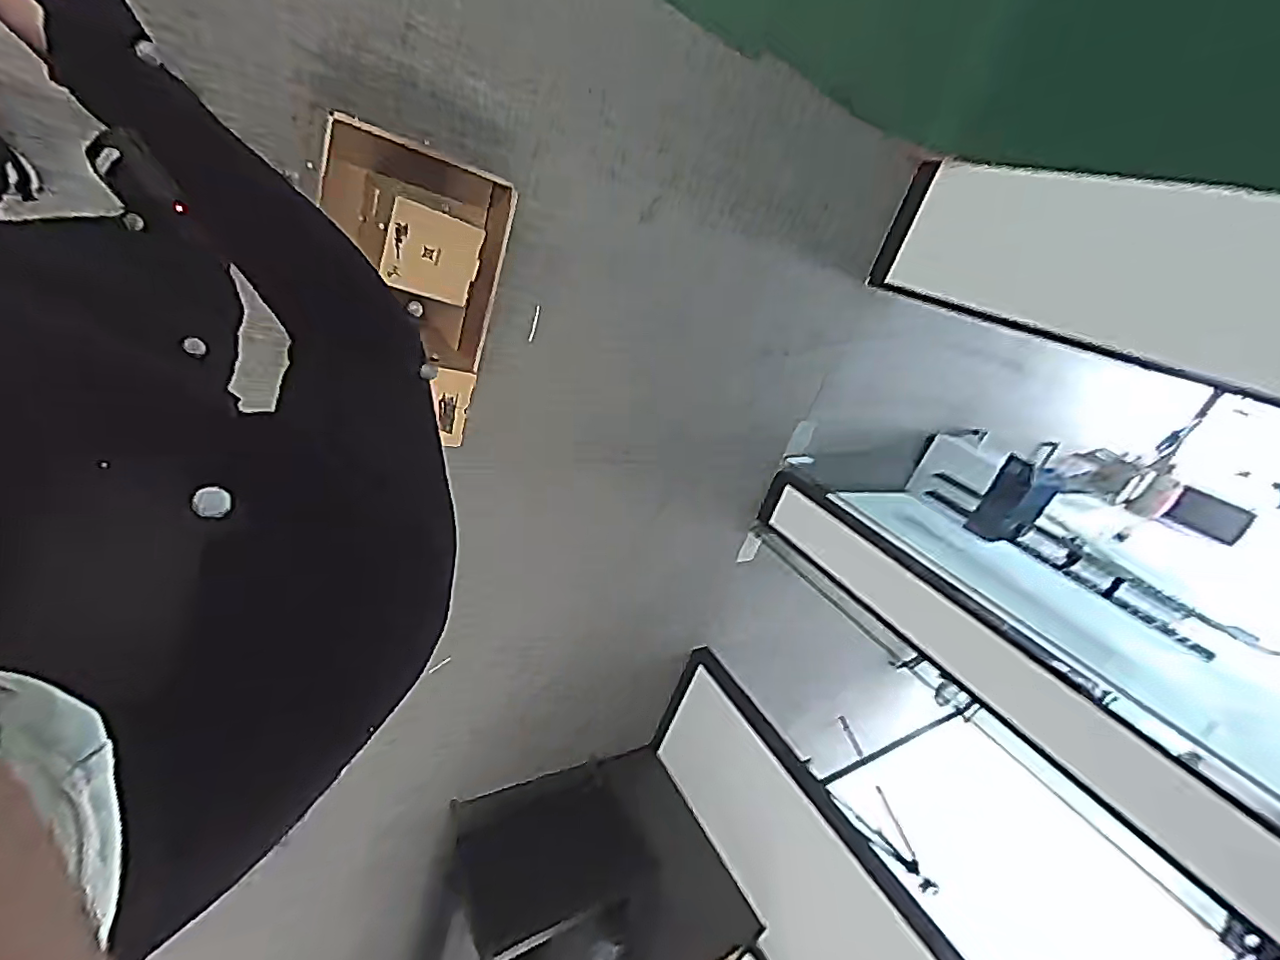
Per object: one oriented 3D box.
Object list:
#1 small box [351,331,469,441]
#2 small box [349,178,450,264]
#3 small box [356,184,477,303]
[{"bbox_3d":[-0.478,-0.195,1.114,0.179,0.176,0.168,4,116,-38],"label":"small box"},{"bbox_3d":[-0.559,-0.577,1.244,0.179,0.176,0.168,1,121,-37],"label":"small box"},{"bbox_3d":[-0.471,-0.496,1.130,0.179,0.176,0.168,7,116,-40],"label":"small box"}]
